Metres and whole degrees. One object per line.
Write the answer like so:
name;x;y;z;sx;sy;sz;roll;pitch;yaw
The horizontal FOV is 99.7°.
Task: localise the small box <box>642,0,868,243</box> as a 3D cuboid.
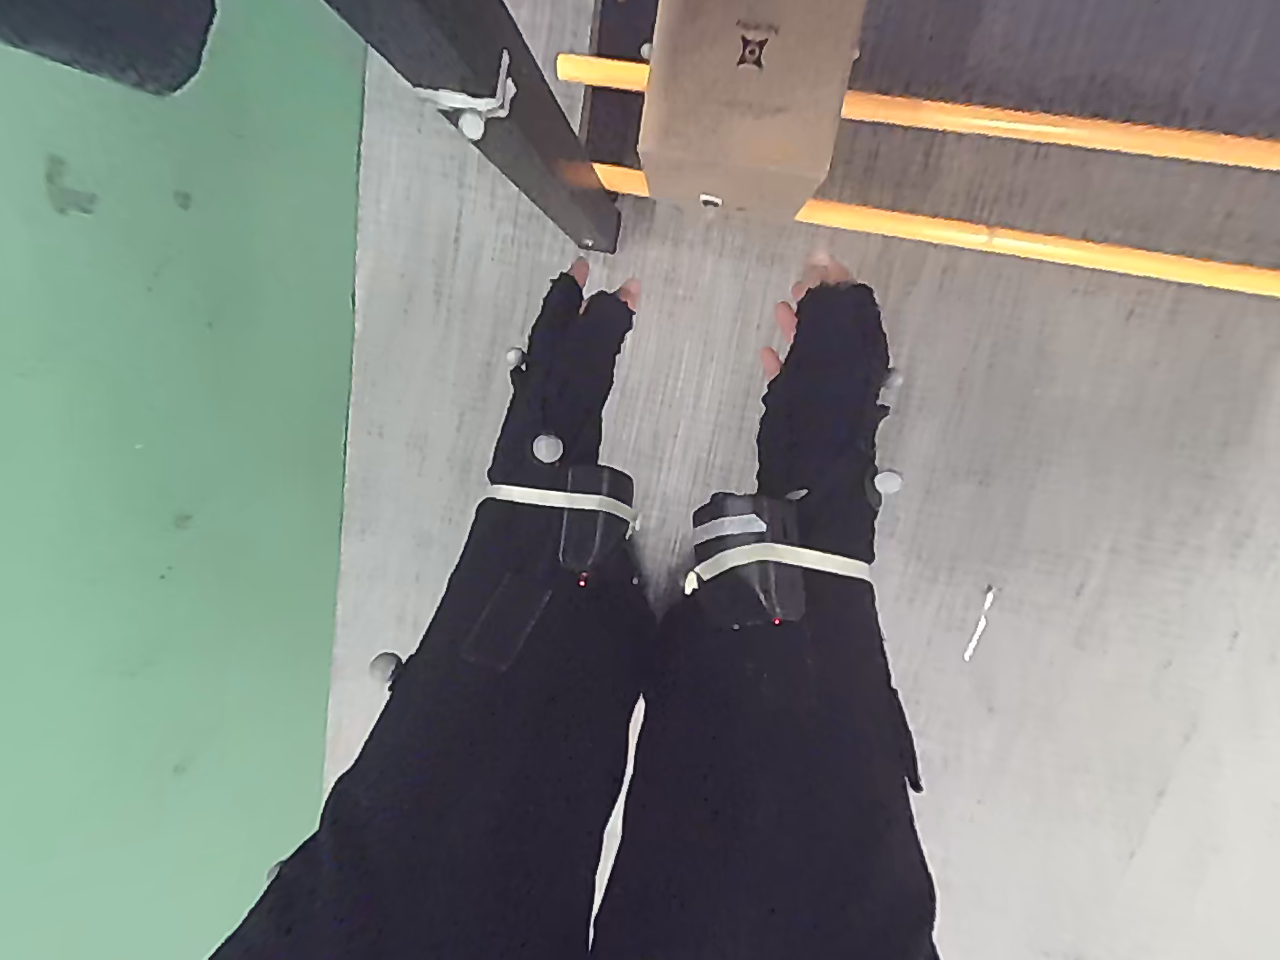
small box;0.100;-0.352;0.532;0.168;0.176;0.179;10;103;3
